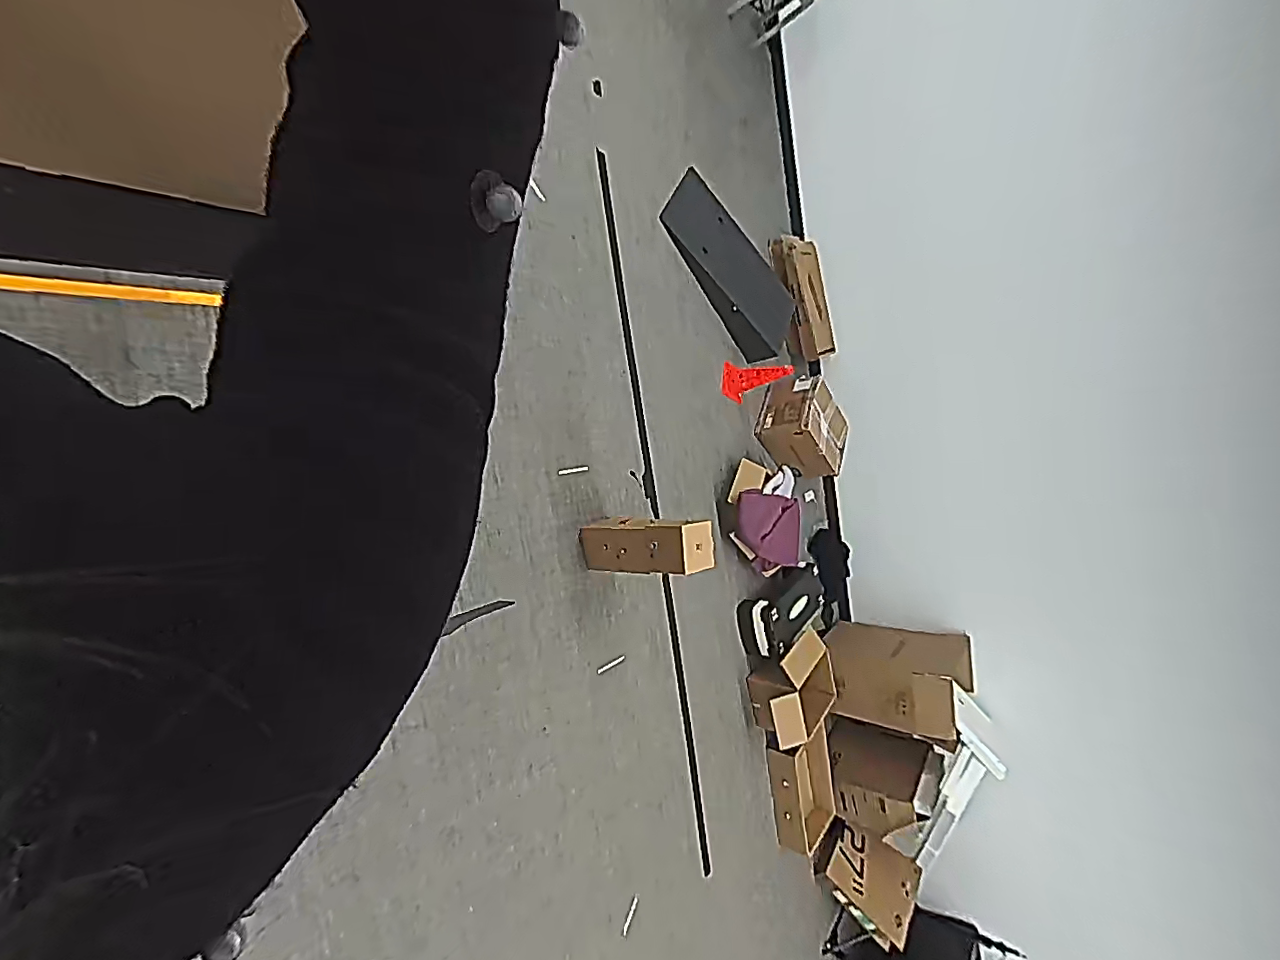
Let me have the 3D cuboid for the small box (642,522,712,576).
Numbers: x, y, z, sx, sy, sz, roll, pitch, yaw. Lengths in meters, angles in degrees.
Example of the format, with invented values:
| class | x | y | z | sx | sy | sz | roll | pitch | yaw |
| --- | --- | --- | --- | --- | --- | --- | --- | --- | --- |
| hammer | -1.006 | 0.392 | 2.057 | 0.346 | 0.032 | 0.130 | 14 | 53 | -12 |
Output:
| class | x | y | z | sx | sy | sz | roll | pitch | yaw |
| --- | --- | --- | --- | --- | --- | --- | --- | --- | --- |
| small box | 0.129 | 0.234 | 1.886 | 0.179 | 0.176 | 0.168 | -5 | 89 | -48 |

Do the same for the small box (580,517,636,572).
| class | x | y | z | sx | sy | sz | roll | pitch | yaw |
| --- | --- | --- | --- | --- | --- | --- | --- | --- | --- |
| small box | -0.115 | 0.248 | 2.104 | 0.168 | 0.176 | 0.179 | -18 | 101 | -48 |

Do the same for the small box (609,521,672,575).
| class | x | y | z | sx | sy | sz | roll | pitch | yaw |
| --- | --- | --- | --- | --- | --- | --- | --- | --- | --- |
| small box | 0.010 | 0.244 | 1.998 | 0.179 | 0.176 | 0.168 | -13 | 96 | -49 |
